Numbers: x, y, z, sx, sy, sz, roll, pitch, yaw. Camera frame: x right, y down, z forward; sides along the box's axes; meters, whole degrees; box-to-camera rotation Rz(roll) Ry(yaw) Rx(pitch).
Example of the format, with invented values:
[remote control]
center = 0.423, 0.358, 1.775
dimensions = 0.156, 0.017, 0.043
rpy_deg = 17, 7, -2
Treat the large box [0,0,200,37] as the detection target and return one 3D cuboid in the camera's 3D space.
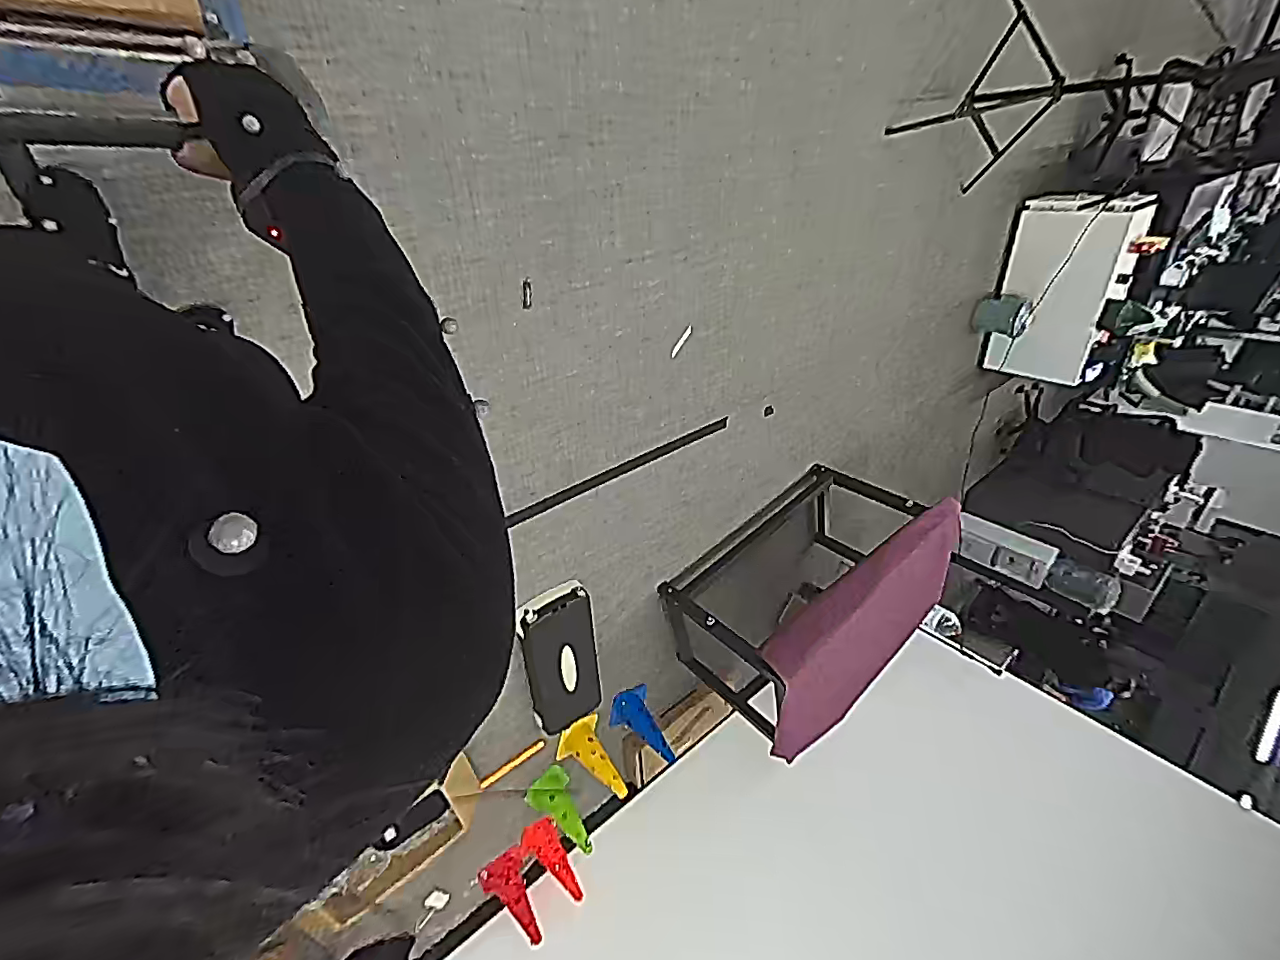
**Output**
[large box]
center = -0.803, -0.719, 0.597
dimensions = 0.408, 0.320, 0.320
rpy_deg = -22, 132, -34
